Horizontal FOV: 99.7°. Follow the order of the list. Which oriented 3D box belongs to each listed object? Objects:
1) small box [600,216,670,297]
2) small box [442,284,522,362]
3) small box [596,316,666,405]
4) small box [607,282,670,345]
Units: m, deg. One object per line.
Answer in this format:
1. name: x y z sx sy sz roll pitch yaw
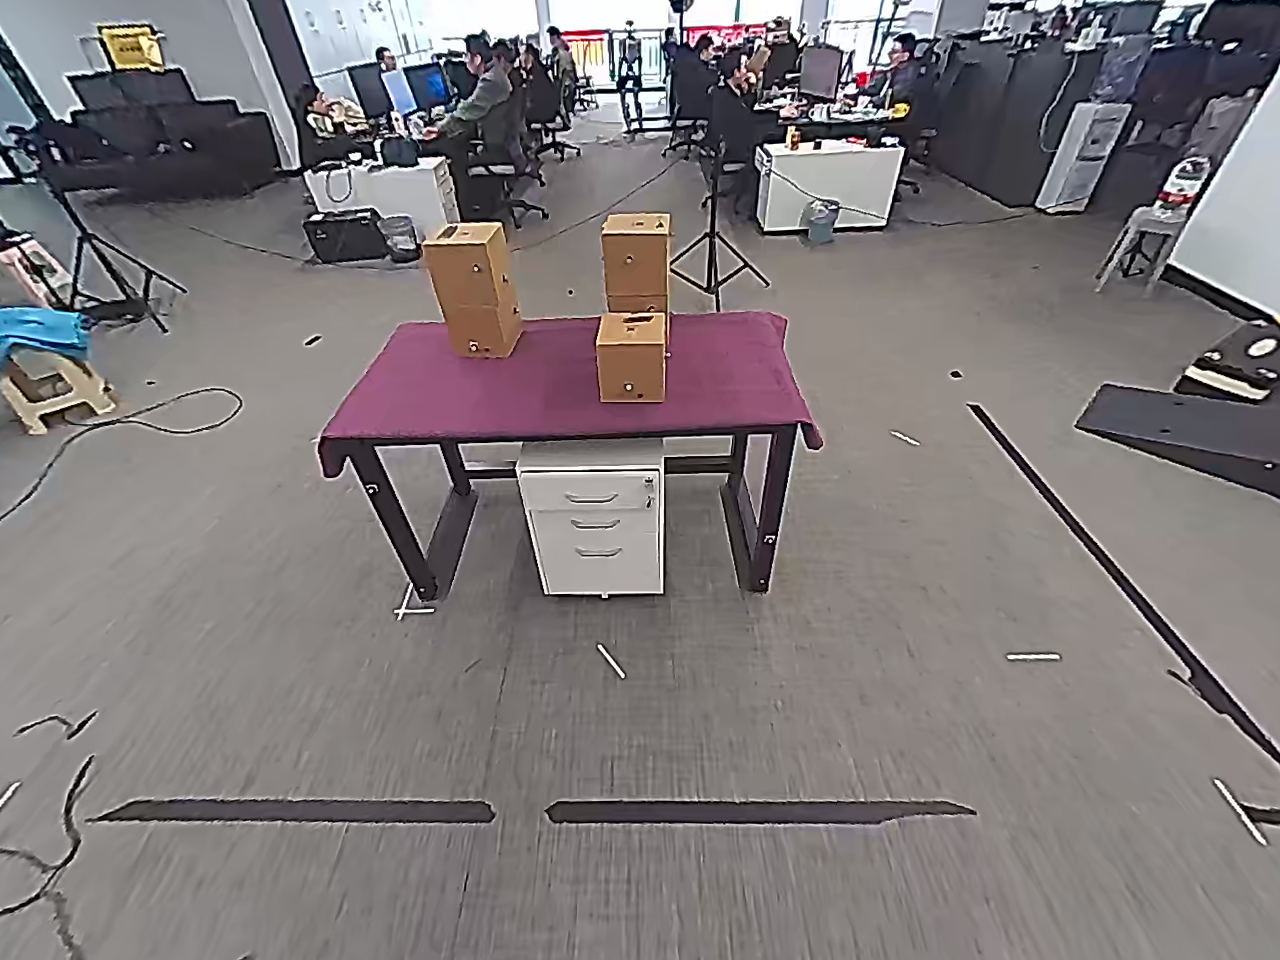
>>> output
1. small box: -0.008 -0.624 1.517 0.179 0.176 0.168 1 43 6
2. small box: -0.464 -0.473 1.622 0.168 0.176 0.179 1 44 6
3. small box: -0.018 -0.313 1.412 0.168 0.176 0.179 0 41 4
4. small box: 0.000 -0.501 1.625 0.179 0.176 0.168 0 42 4
